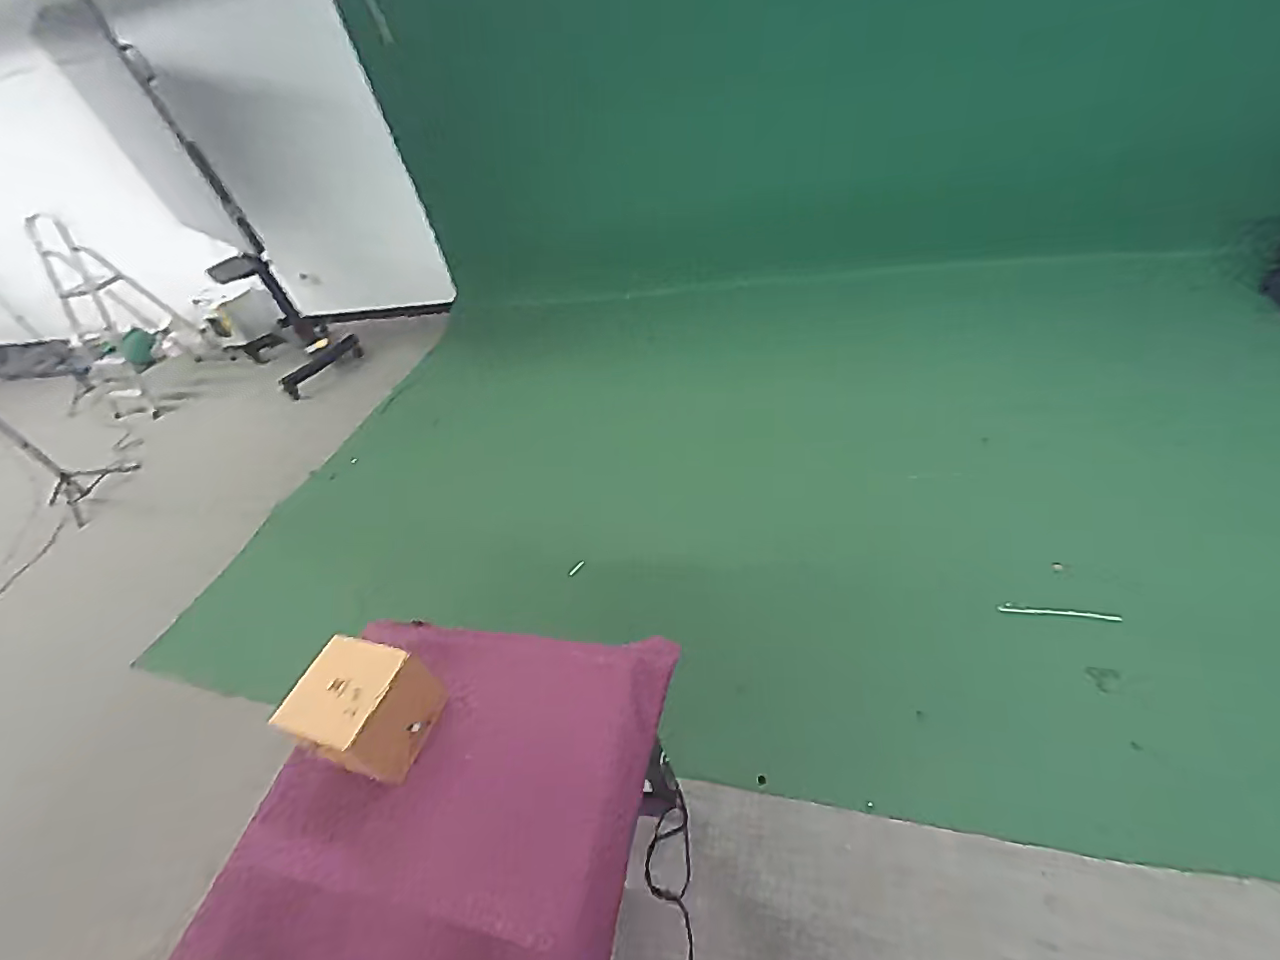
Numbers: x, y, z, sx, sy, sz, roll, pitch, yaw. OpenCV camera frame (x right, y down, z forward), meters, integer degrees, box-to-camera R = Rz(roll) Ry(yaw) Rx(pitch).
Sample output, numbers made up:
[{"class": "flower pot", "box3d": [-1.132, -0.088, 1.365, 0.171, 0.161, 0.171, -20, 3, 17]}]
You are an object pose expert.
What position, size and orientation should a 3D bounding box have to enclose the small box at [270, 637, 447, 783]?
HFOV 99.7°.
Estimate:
[{"class": "small box", "box3d": [-0.479, 0.403, 0.947, 0.179, 0.176, 0.168, 6, 47, 20]}]
